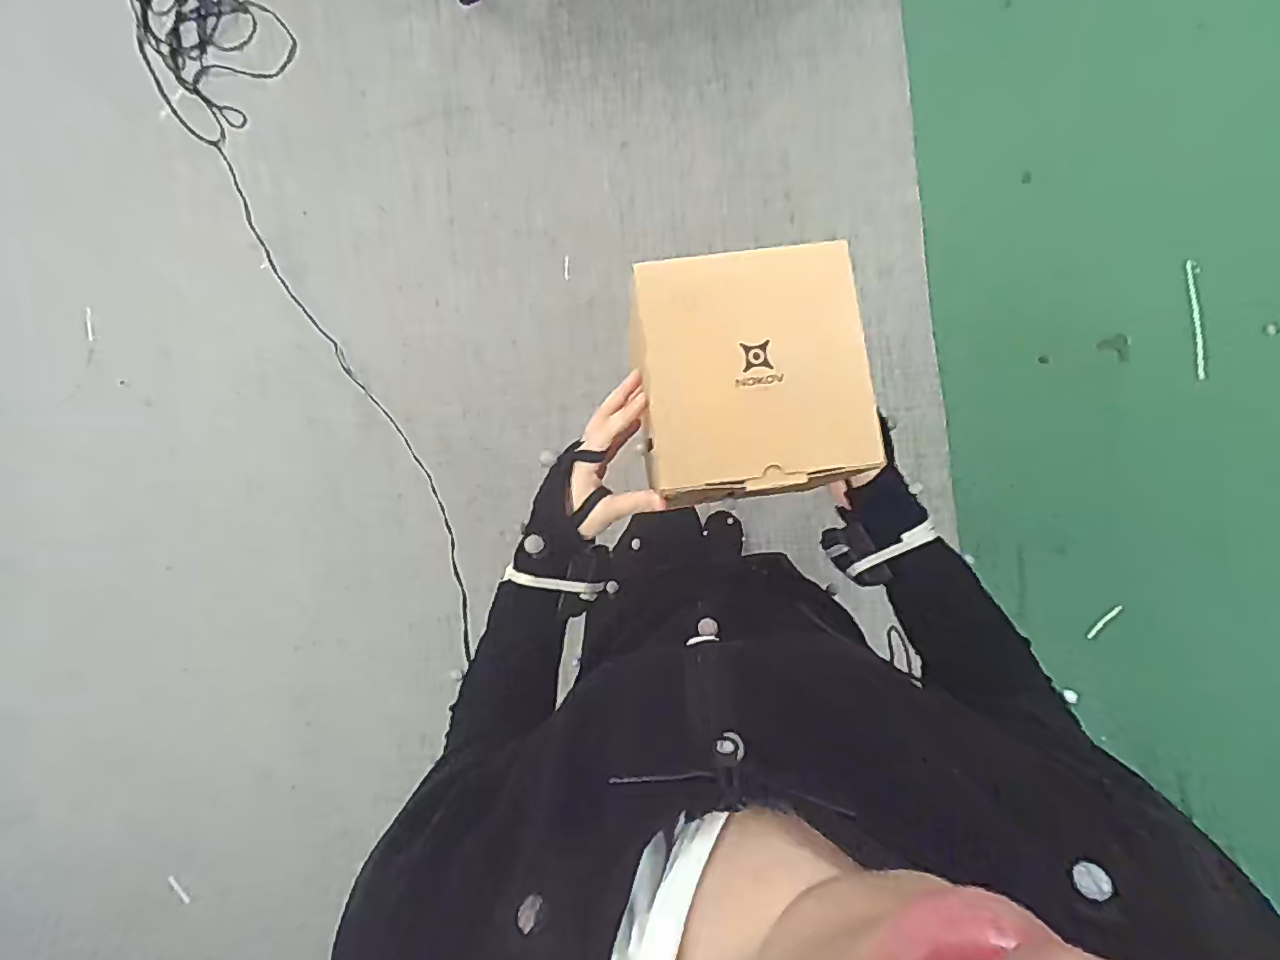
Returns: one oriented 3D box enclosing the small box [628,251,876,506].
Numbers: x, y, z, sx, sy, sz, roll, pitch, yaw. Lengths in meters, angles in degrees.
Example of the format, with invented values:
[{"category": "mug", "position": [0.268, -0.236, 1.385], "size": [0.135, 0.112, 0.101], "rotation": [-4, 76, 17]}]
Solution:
[{"category": "small box", "position": [0.081, -0.075, 0.482], "size": [0.168, 0.176, 0.179], "rotation": [-7, 85, -3]}]
